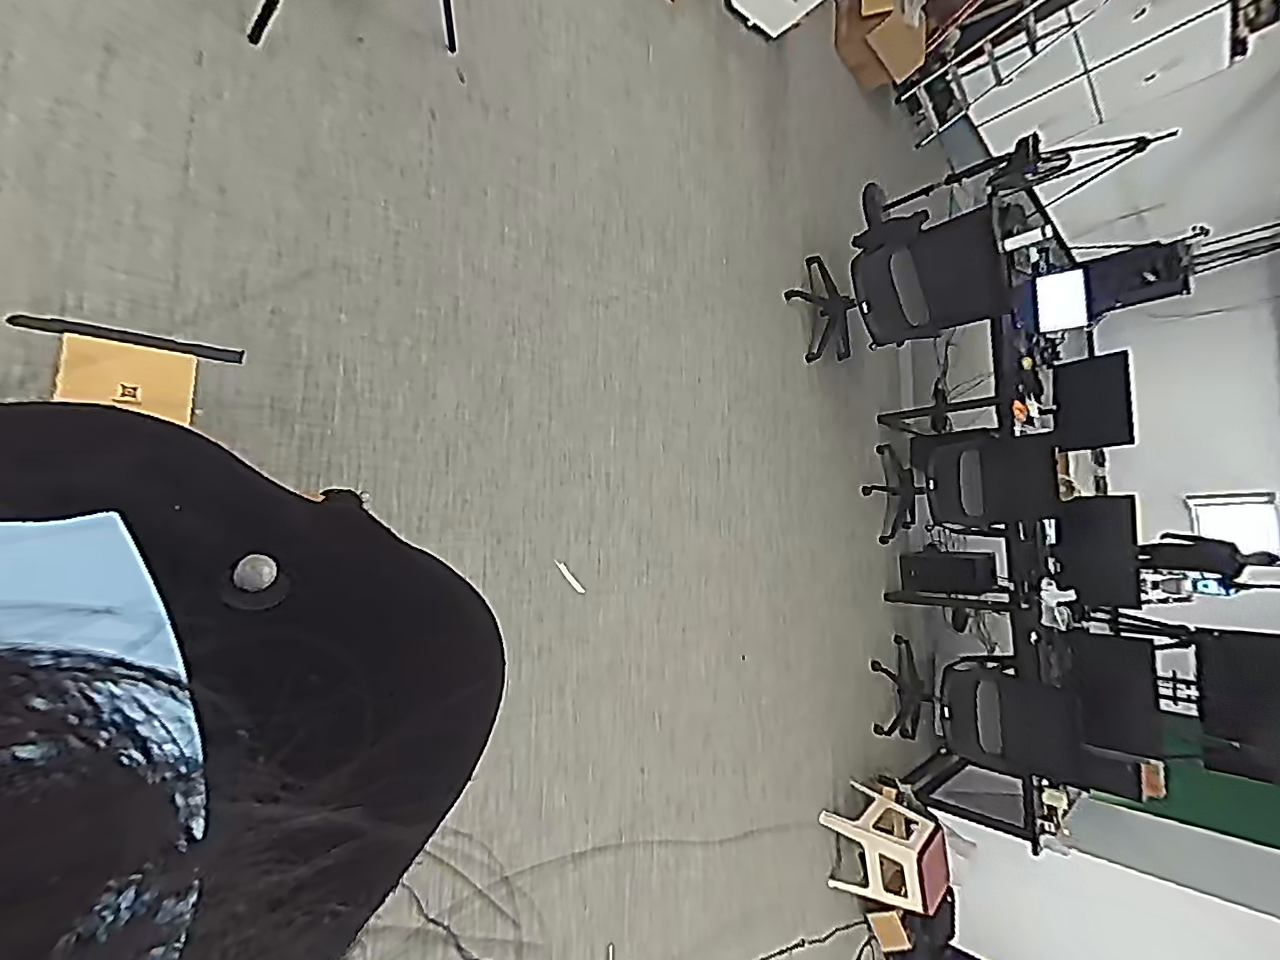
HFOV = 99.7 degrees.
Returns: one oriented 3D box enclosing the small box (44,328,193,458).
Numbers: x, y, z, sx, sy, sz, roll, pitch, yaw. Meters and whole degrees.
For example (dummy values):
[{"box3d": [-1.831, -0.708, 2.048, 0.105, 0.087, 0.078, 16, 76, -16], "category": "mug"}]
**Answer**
[{"box3d": [-0.903, -0.140, 0.946, 0.168, 0.176, 0.179, 6, 82, -42], "category": "small box"}]
